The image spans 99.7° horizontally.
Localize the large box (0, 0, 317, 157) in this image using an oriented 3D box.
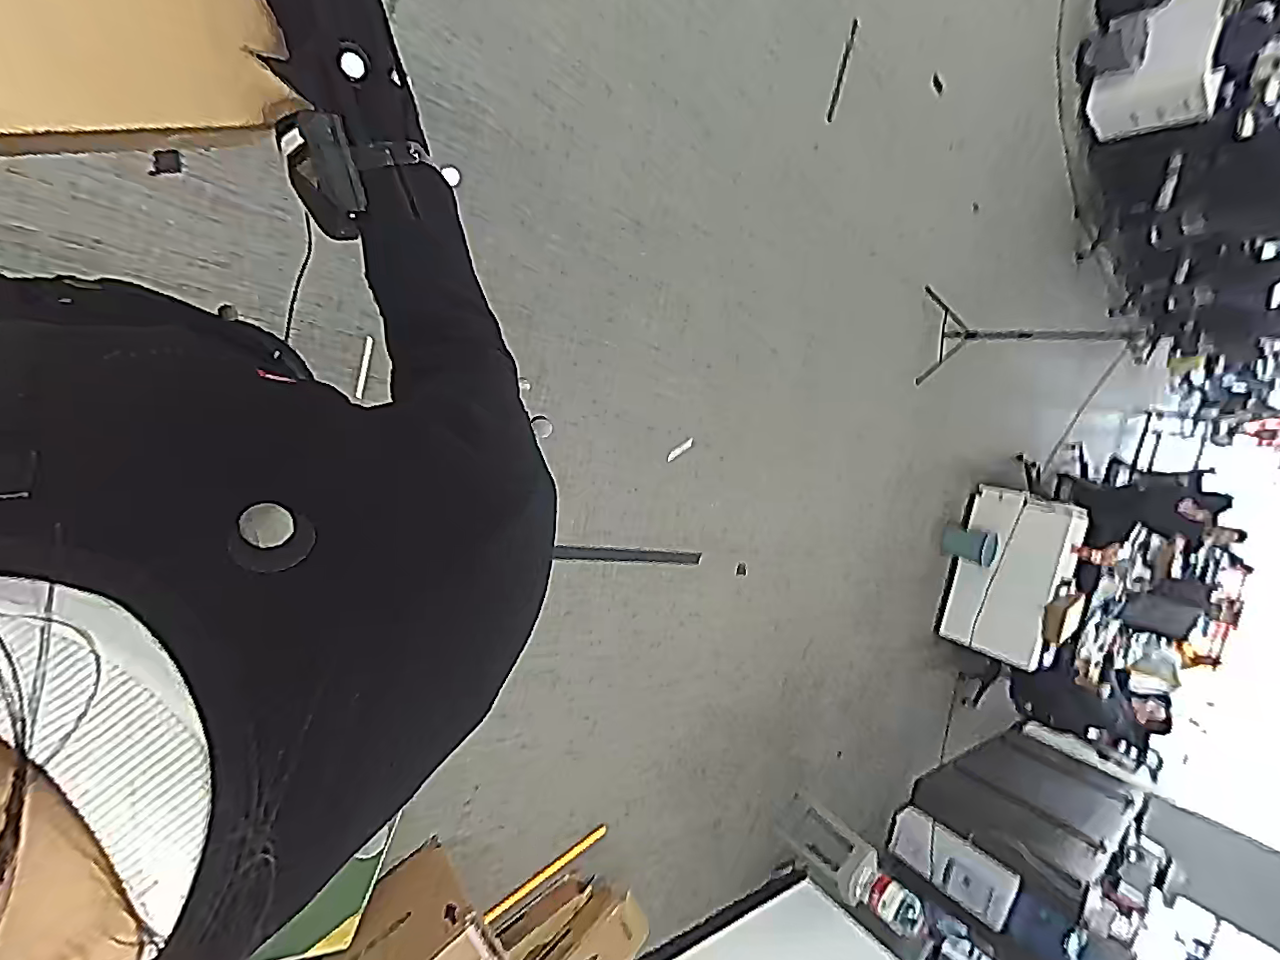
[{"bbox_3d":[-0.476,-0.359,0.293,0.408,0.320,0.320,-25,128,-31],"label":"large box"}]
